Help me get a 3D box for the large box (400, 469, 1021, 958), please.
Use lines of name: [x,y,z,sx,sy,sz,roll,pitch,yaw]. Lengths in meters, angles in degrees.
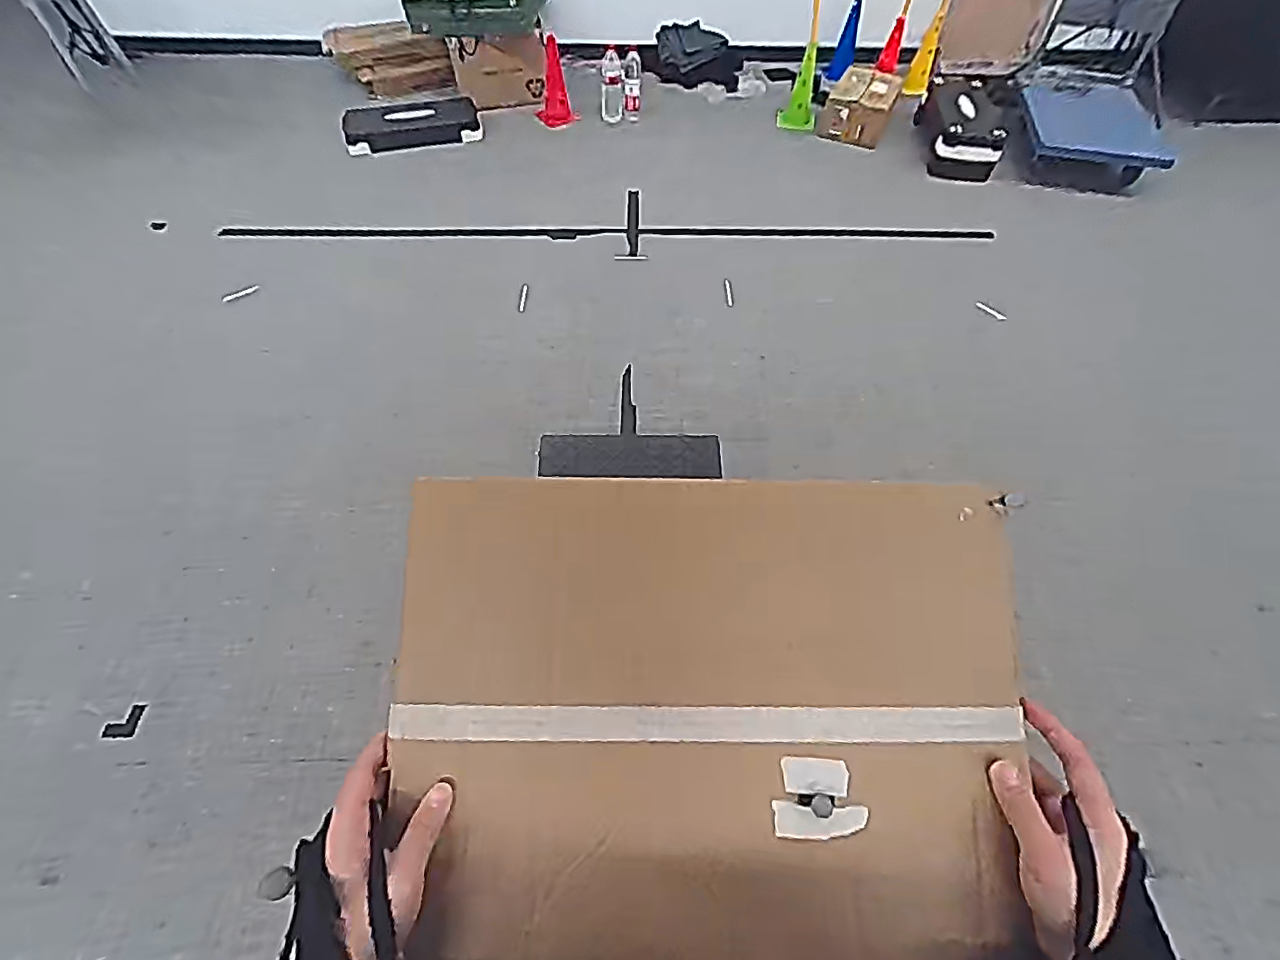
large box: [0.041,0.169,0.510,0.408,0.320,0.320,0,82,-1]
